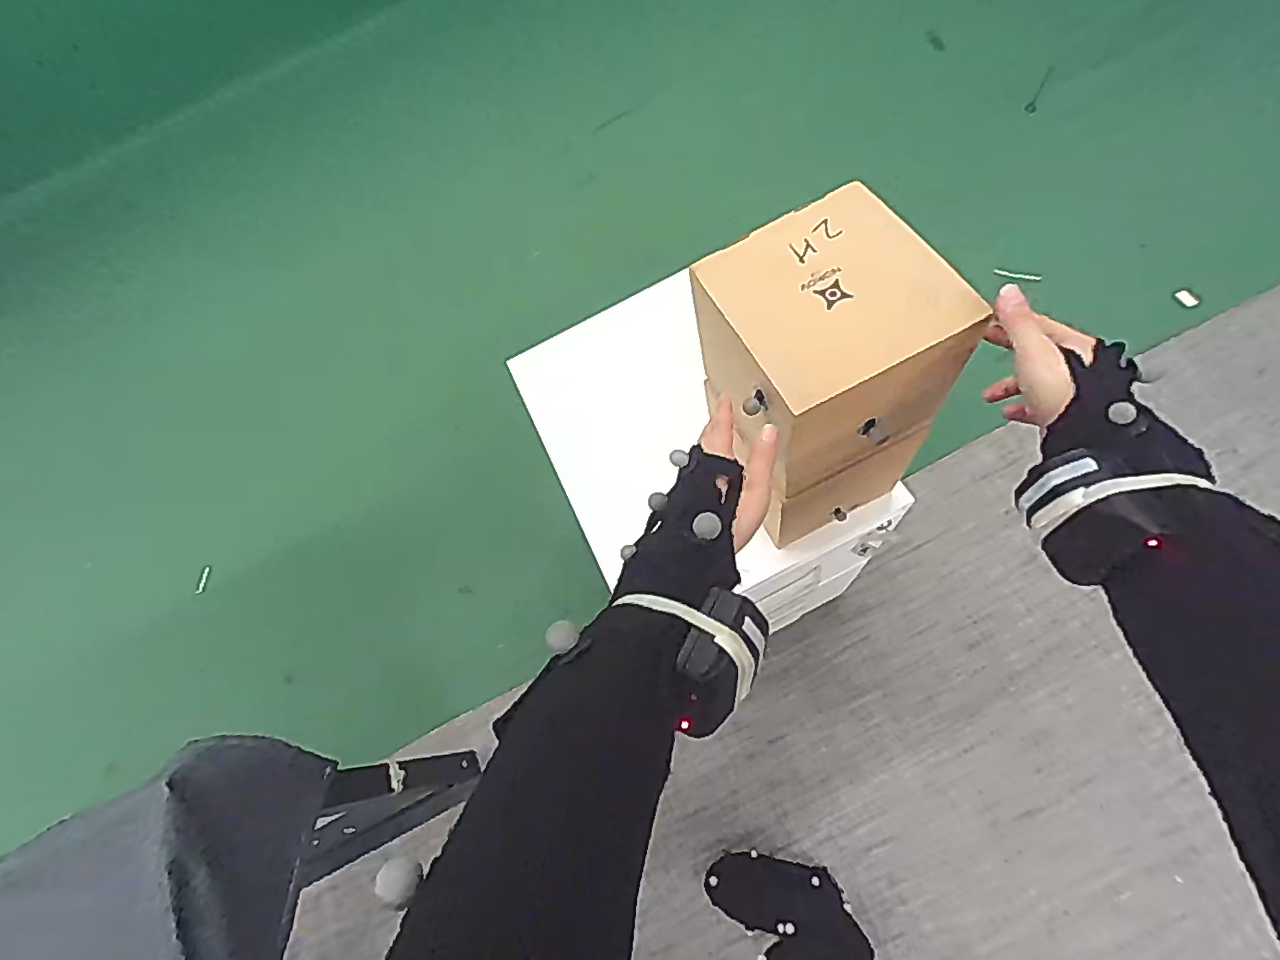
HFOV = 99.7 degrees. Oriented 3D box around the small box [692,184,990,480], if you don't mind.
[{"bbox_3d":[0.165,-0.119,0.499,0.168,0.176,0.179,-26,64,-1],"label":"small box"}]
